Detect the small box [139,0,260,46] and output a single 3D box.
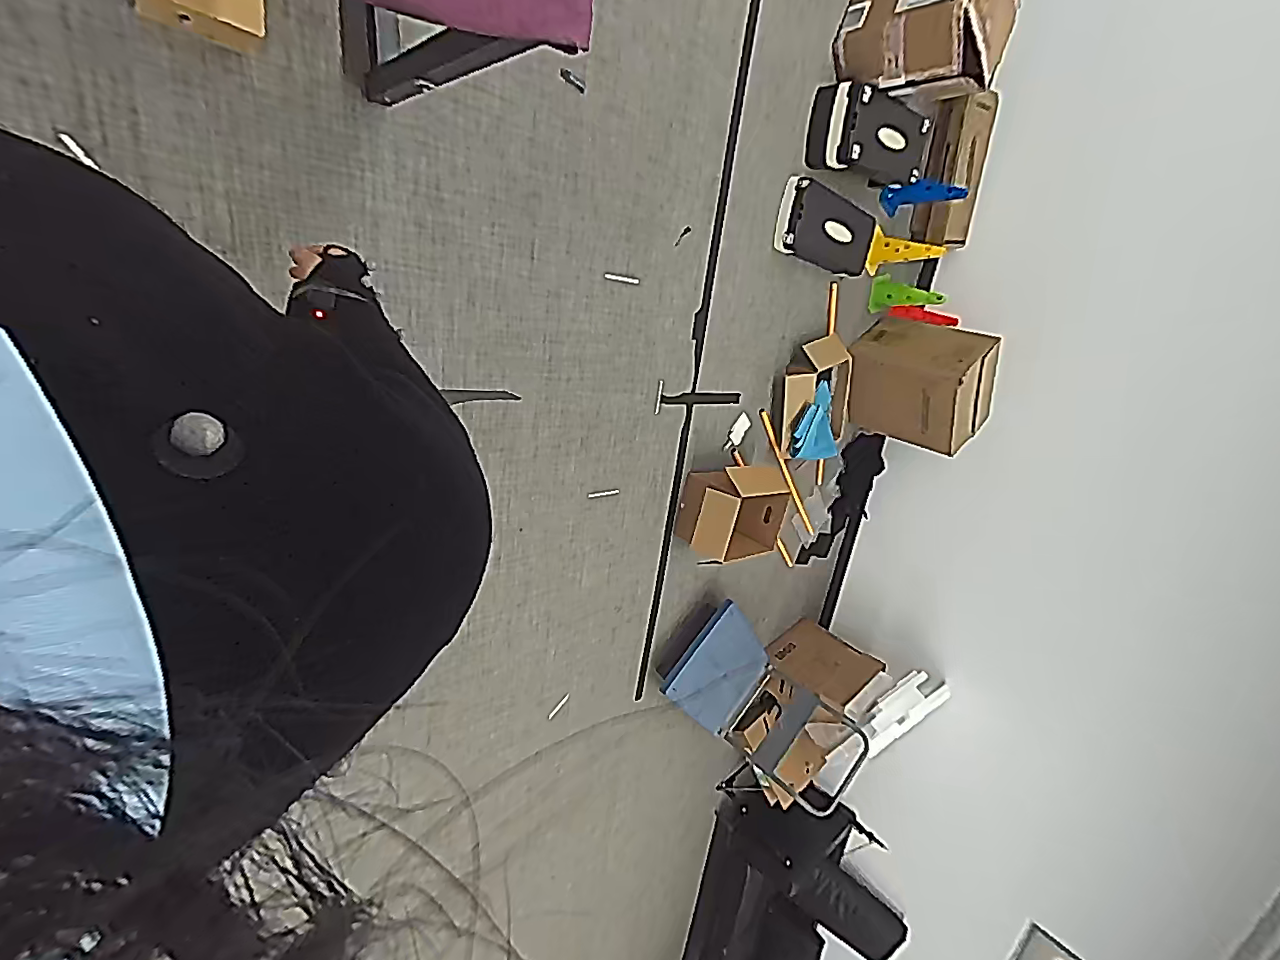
[{"bbox_3d":[-0.768,-0.894,0.931,0.168,0.176,0.179,-5,113,-43],"label":"small box"}]
